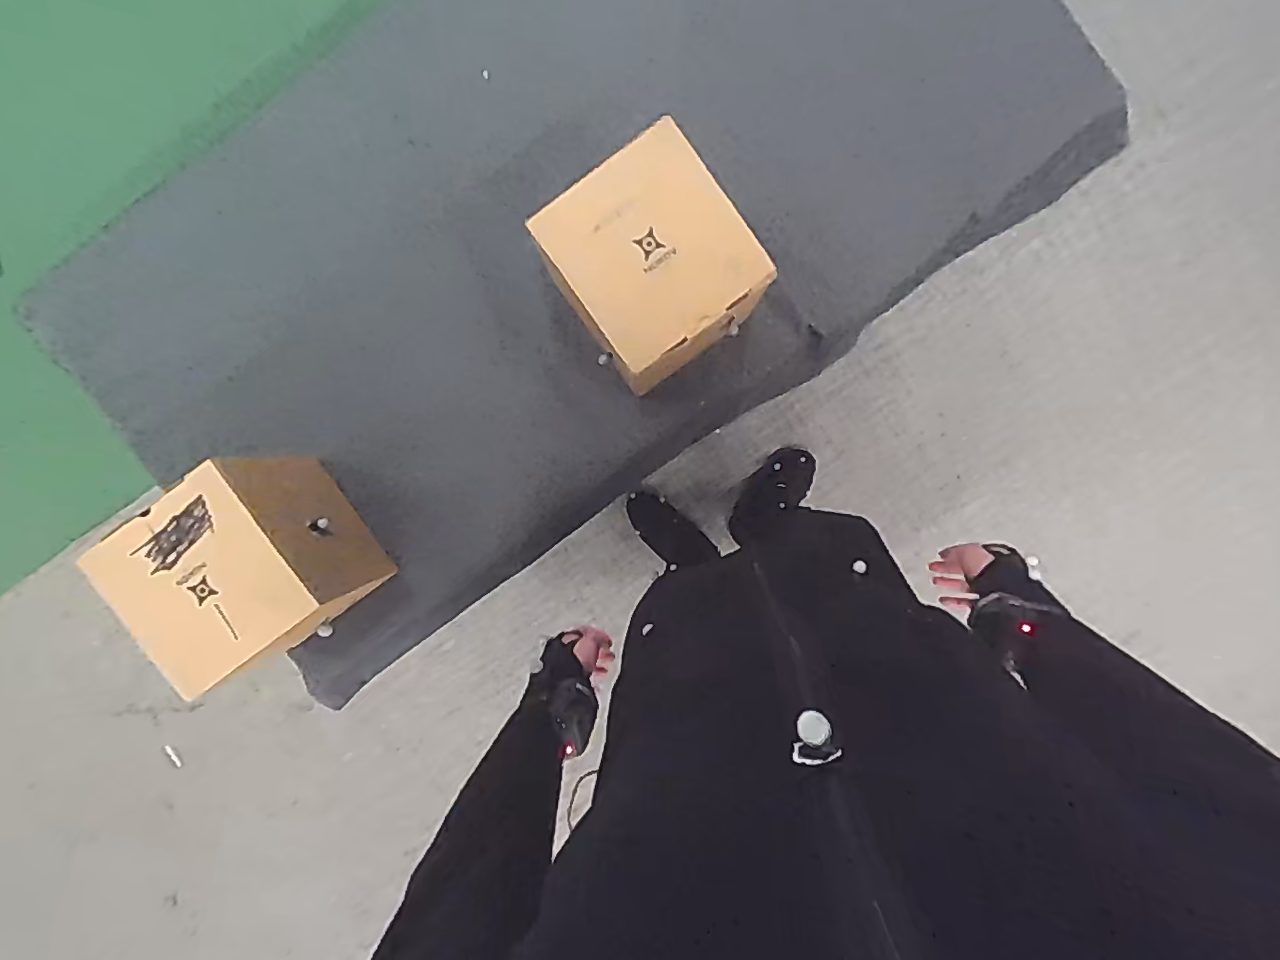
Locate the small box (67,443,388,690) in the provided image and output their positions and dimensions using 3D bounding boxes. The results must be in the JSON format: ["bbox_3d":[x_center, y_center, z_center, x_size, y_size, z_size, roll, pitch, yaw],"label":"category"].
[{"bbox_3d":[-0.416,0.079,0.580,0.168,0.176,0.179,-35,92,2],"label":"small box"}]

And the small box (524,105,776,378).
[{"bbox_3d":[0.011,-0.223,0.565,0.168,0.176,0.179,-36,90,1],"label":"small box"}]
